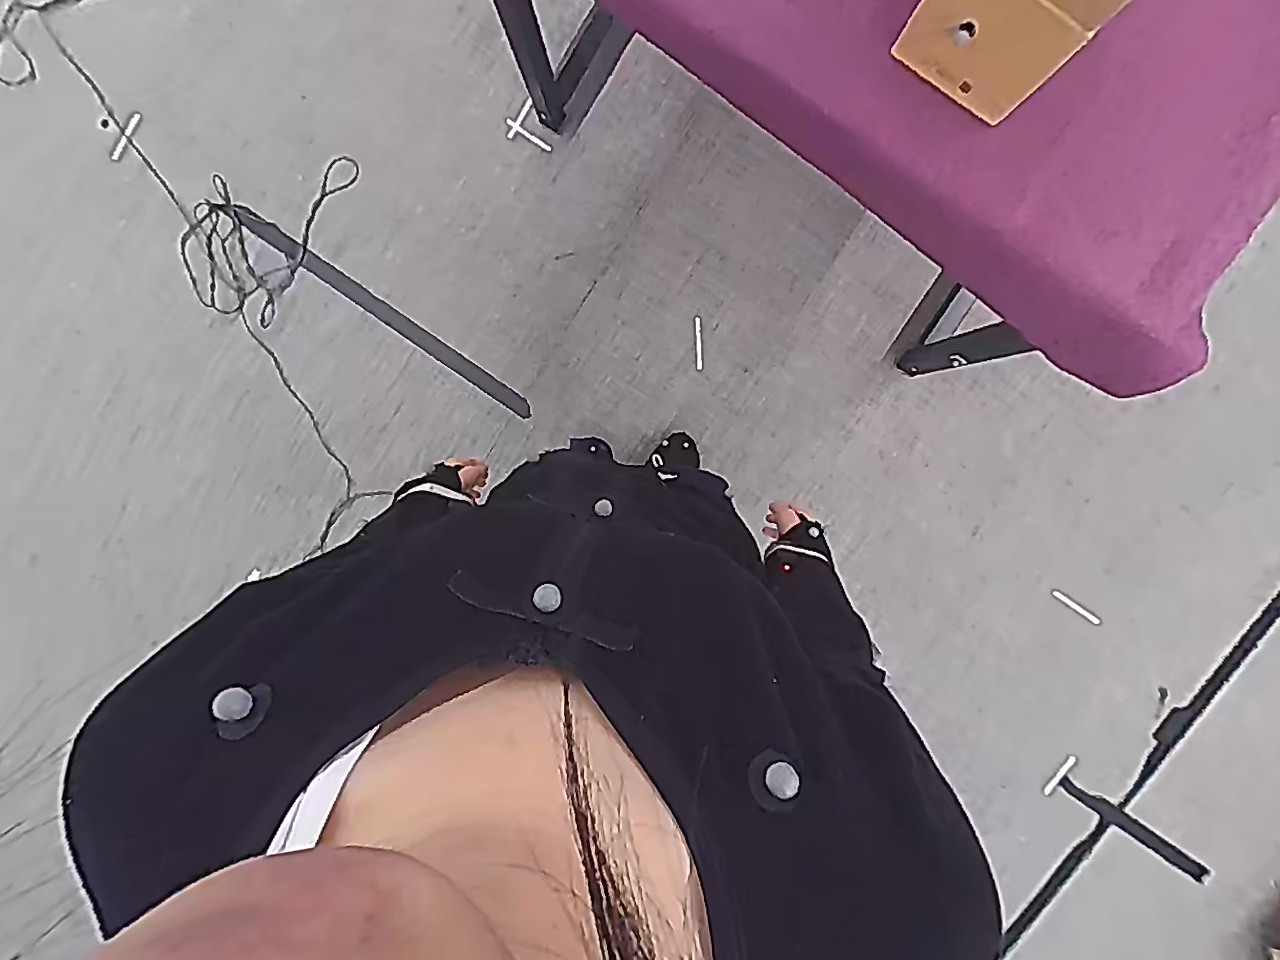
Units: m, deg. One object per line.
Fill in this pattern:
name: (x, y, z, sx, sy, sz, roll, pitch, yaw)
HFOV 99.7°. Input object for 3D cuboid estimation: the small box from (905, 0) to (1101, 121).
small box: (0.437, -0.565, 0.615, 0.168, 0.176, 0.179, 34, 95, -1)

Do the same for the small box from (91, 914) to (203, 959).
small box: (-1.035, 1.034, 1.082, 0.168, 0.176, 0.179, 30, 96, 0)
